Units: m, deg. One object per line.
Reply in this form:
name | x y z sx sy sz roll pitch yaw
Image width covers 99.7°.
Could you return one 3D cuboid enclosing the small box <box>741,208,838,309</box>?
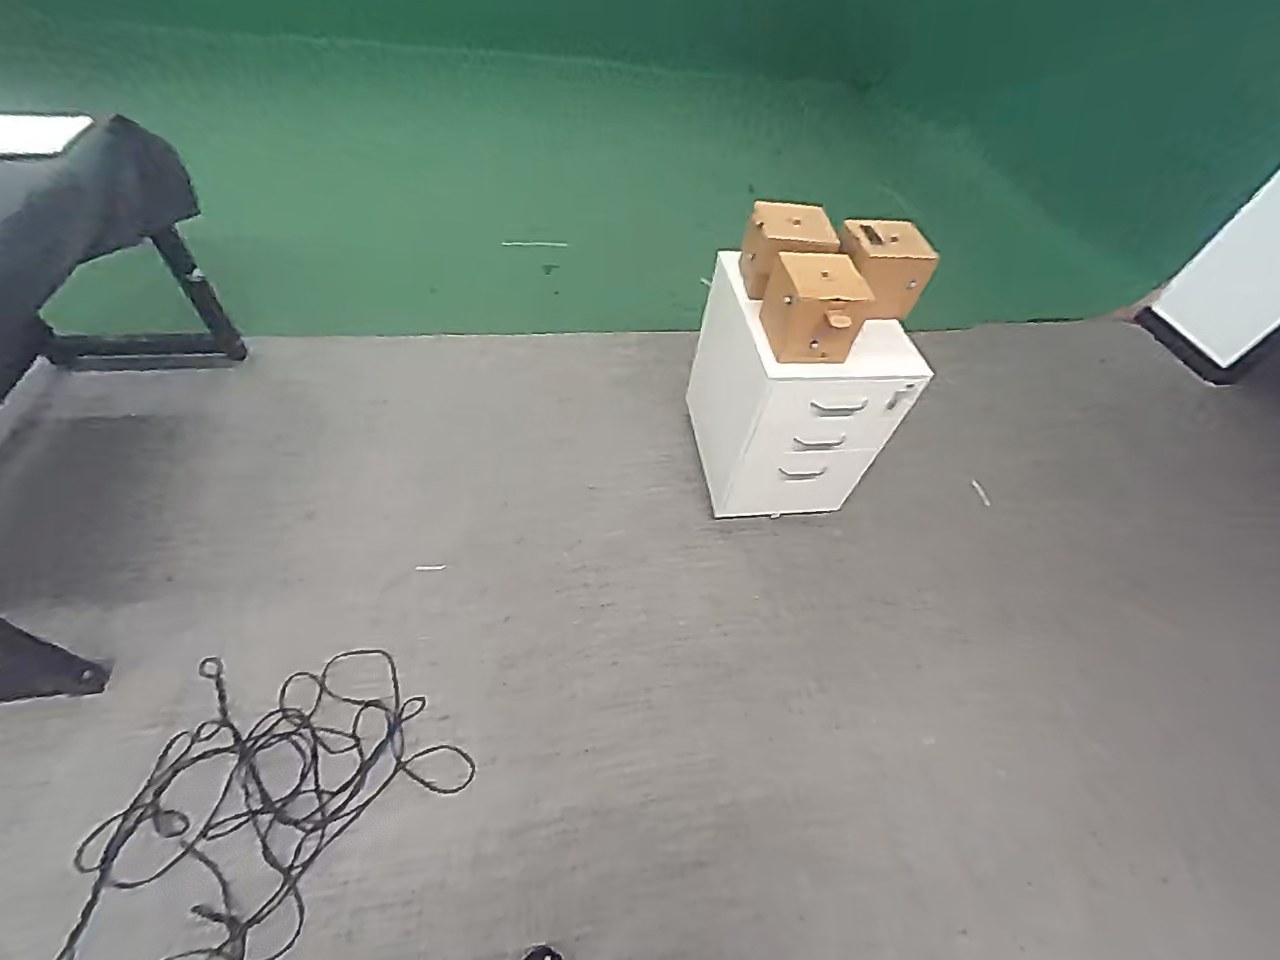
small box | 0.358 -0.546 1.342 0.179 0.176 0.168 2 54 -8
